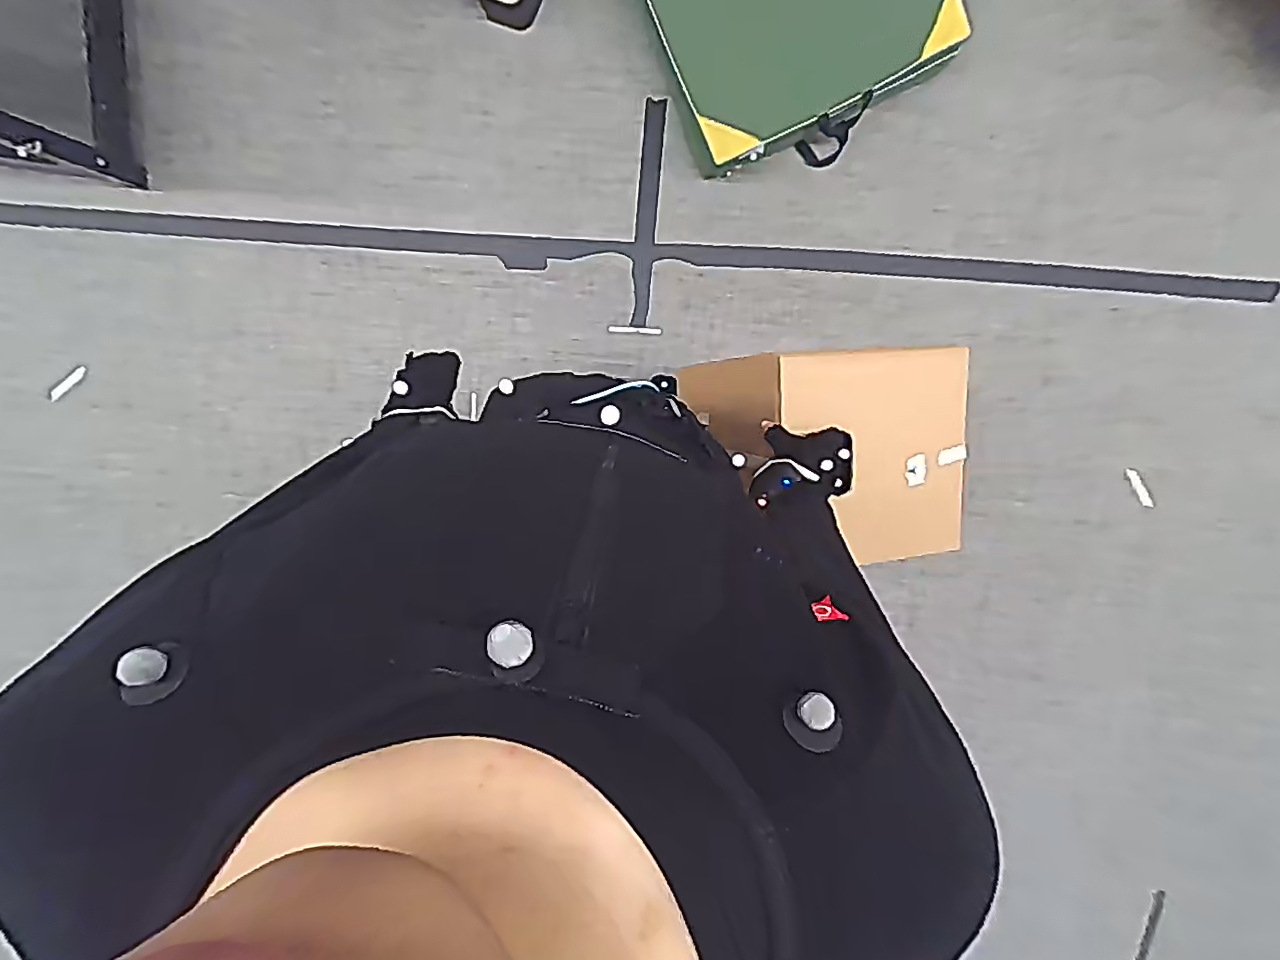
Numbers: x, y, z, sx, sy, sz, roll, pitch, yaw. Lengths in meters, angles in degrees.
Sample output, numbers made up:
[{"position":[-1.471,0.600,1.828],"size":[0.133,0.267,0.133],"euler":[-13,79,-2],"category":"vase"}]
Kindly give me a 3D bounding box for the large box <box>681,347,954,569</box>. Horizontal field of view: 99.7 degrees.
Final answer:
[{"position":[0.288,-0.059,0.980],"size":[0.320,0.408,0.320],"euler":[-5,100,-13],"category":"large box"}]
